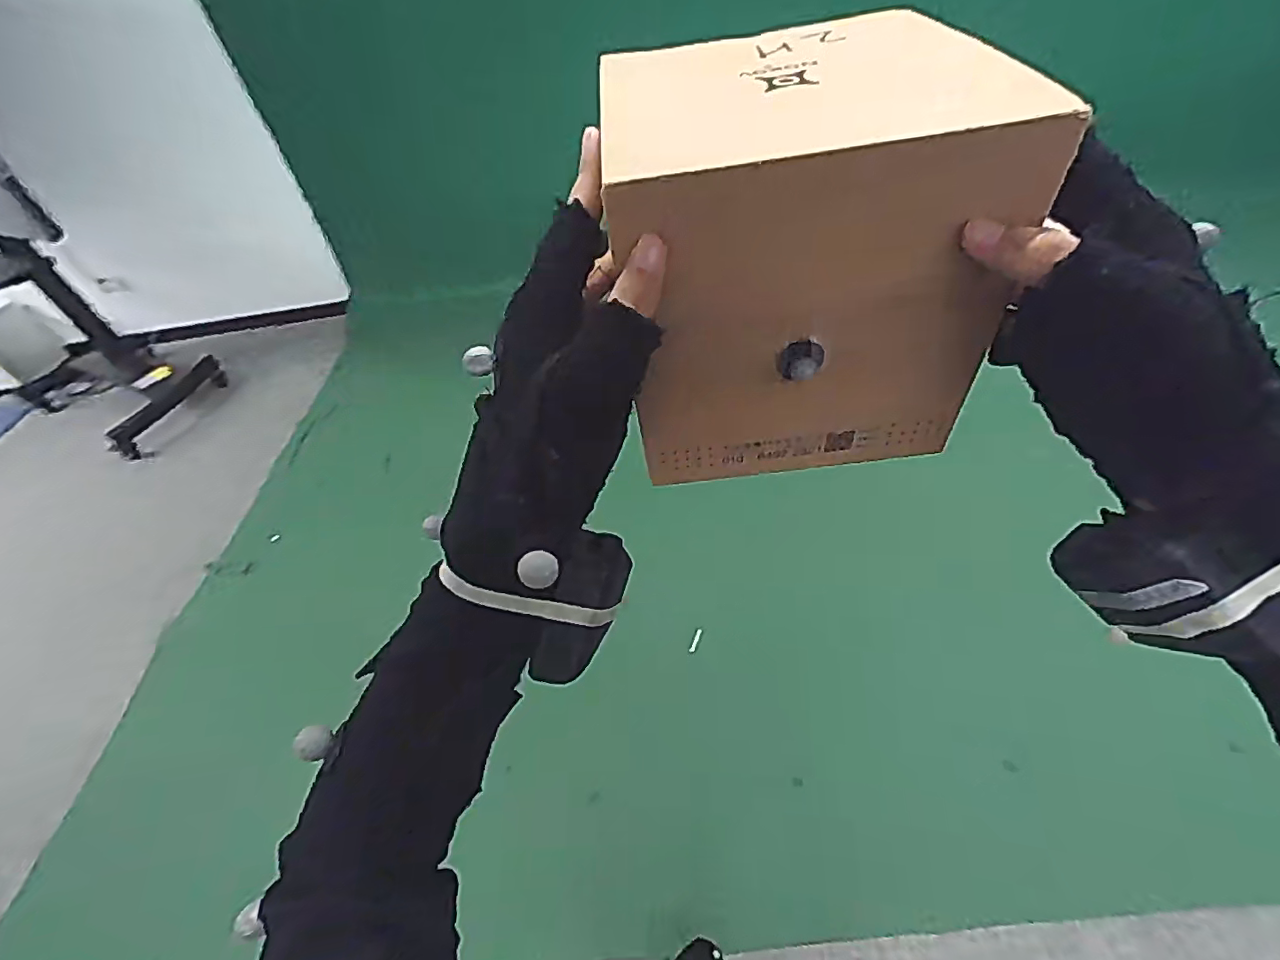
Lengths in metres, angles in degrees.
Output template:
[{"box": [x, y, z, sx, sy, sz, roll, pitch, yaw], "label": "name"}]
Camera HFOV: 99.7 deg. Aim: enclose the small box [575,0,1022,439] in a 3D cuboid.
[{"box": [0.064, -0.137, 0.310, 0.168, 0.176, 0.179, -6, 50, 4], "label": "small box"}]
